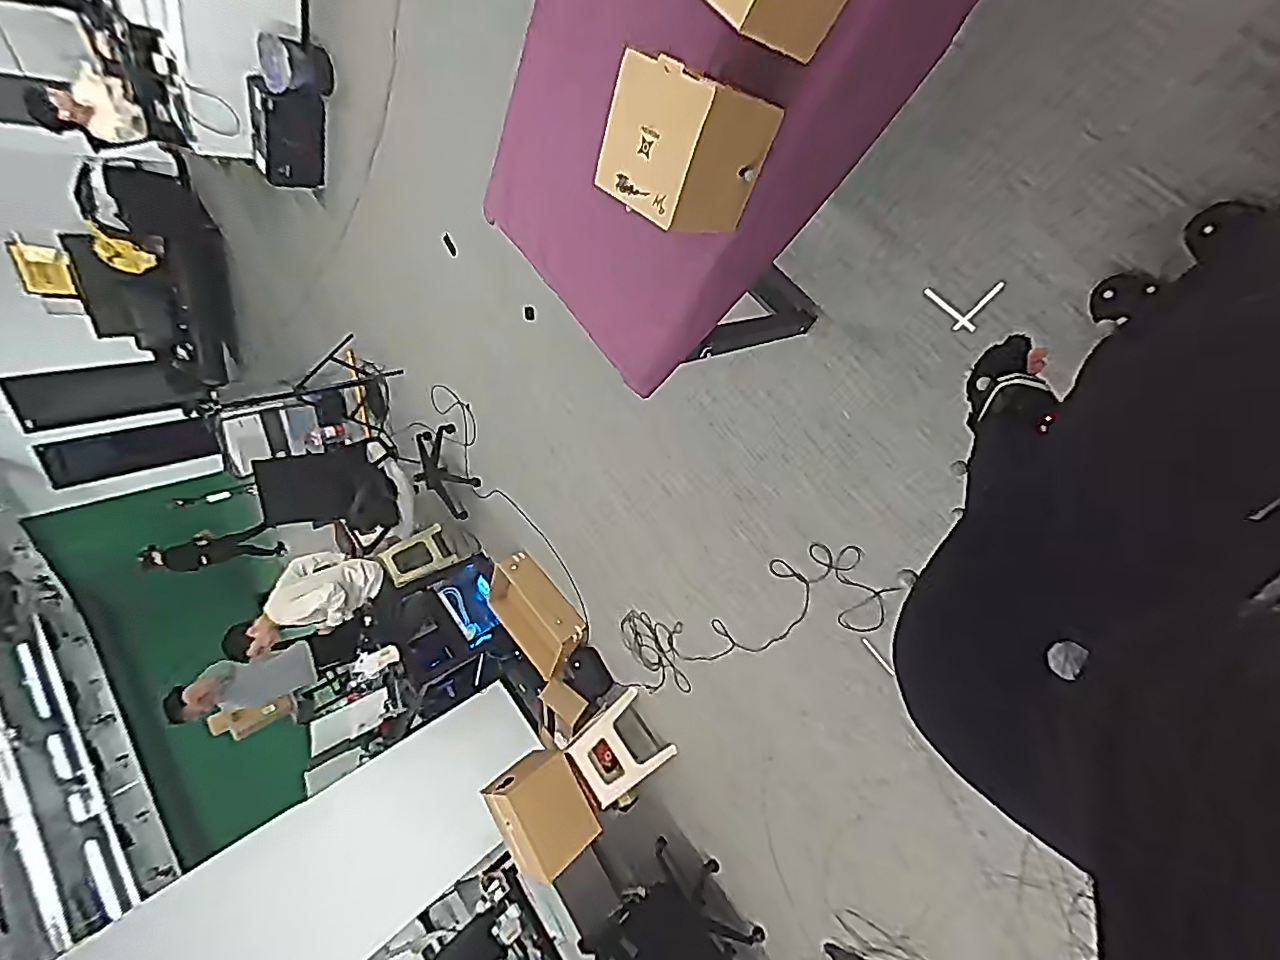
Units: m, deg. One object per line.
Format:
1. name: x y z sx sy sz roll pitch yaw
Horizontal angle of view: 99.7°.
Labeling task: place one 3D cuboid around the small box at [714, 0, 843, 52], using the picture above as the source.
1. small box: 0.161 -0.645 0.619 0.168 0.176 0.179 55 138 14

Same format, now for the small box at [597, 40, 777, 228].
1. small box: 0.071 -0.487 0.783 0.168 0.176 0.179 44 132 24
